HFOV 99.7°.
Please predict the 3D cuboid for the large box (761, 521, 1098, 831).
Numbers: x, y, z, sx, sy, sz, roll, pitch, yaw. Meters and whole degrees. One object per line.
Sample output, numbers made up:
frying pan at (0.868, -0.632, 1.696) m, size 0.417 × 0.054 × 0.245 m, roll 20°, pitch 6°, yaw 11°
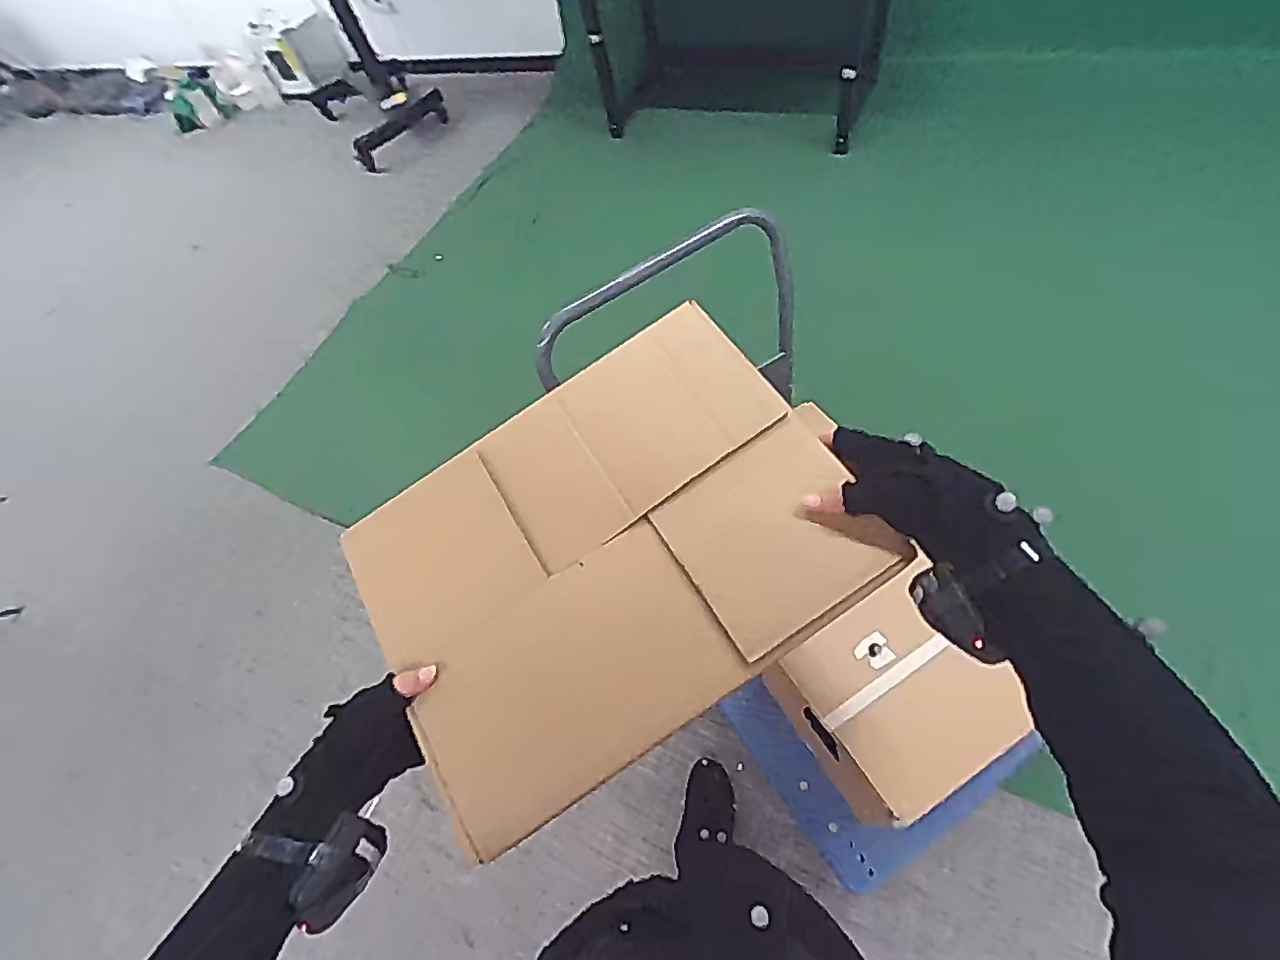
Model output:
large box at (0.469, 0.352, 0.976) m, size 0.408 × 0.320 × 0.320 m, roll -32°, pitch 57°, yaw -7°
